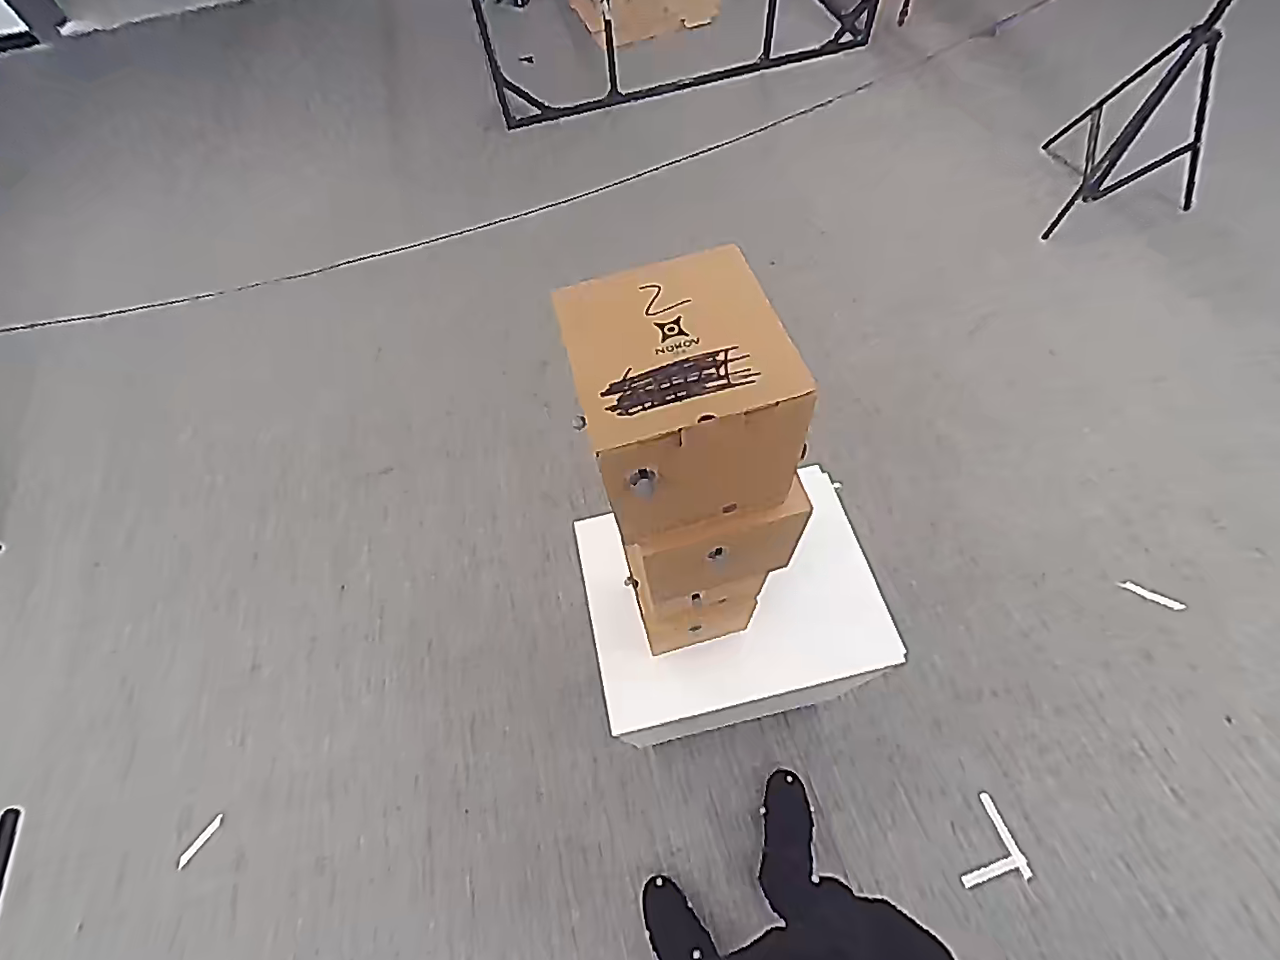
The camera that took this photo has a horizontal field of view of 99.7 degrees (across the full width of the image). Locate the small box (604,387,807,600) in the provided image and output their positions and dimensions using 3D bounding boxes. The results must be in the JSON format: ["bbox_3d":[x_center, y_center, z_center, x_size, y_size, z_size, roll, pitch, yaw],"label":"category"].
[{"bbox_3d":[0.069,0.024,0.629,0.179,0.176,0.168,-15,61,-4],"label":"small box"}]

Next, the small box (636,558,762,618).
[{"bbox_3d":[0.074,0.088,0.781,0.168,0.176,0.179,-14,61,-4],"label":"small box"}]

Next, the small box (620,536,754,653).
[{"bbox_3d":[0.077,0.180,0.916,0.179,0.176,0.168,-15,62,-5],"label":"small box"}]
